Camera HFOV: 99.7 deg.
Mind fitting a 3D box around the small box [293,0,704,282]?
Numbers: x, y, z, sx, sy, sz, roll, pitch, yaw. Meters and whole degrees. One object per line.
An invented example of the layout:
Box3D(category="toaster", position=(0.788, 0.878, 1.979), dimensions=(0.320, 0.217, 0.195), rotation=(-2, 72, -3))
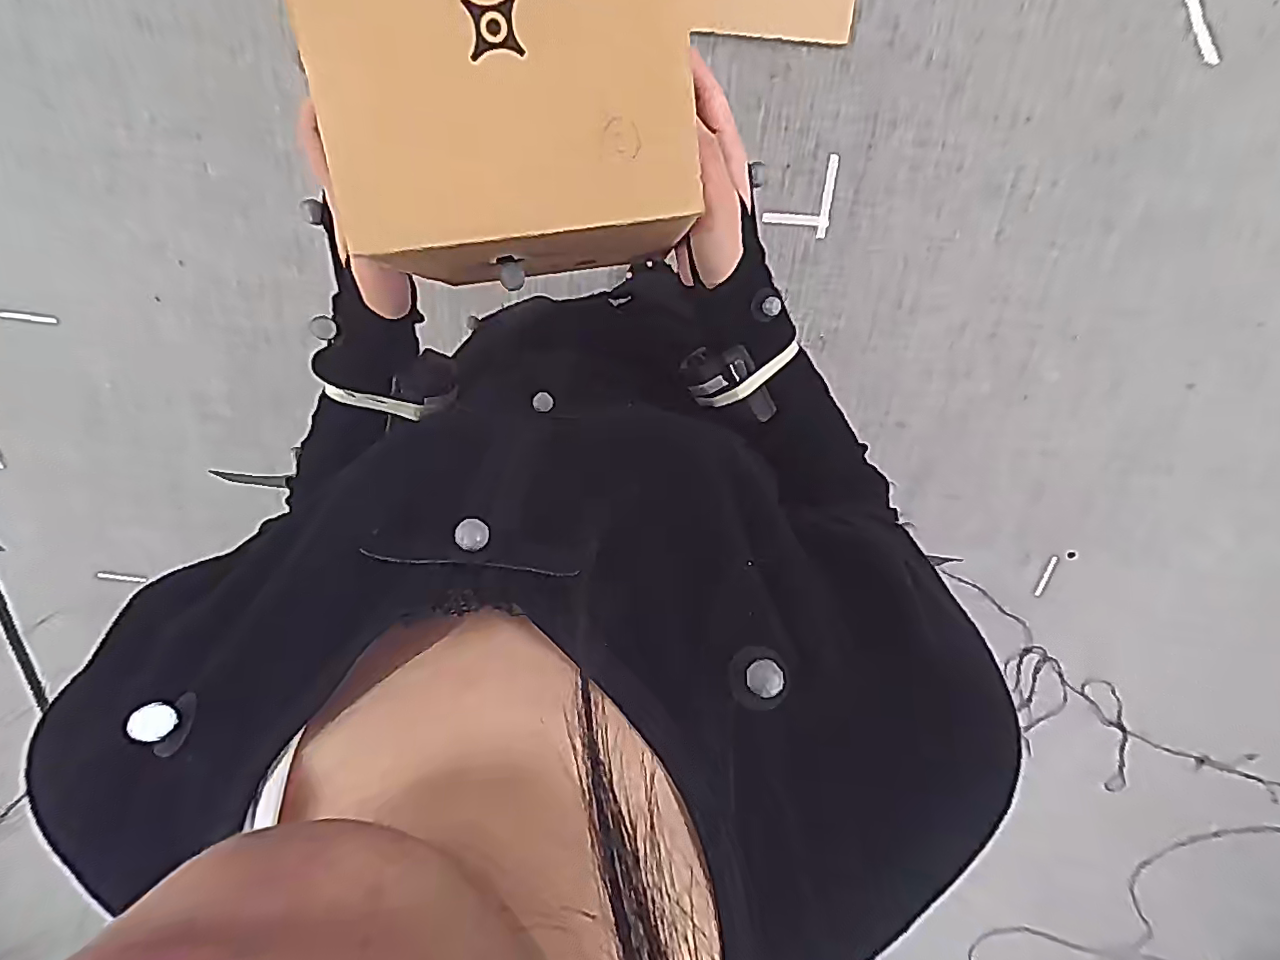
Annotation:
Box3D(category="small box", position=(-0.062, -0.212, 0.302), dimensions=(0.168, 0.176, 0.179), rotation=(-7, 105, -1))
